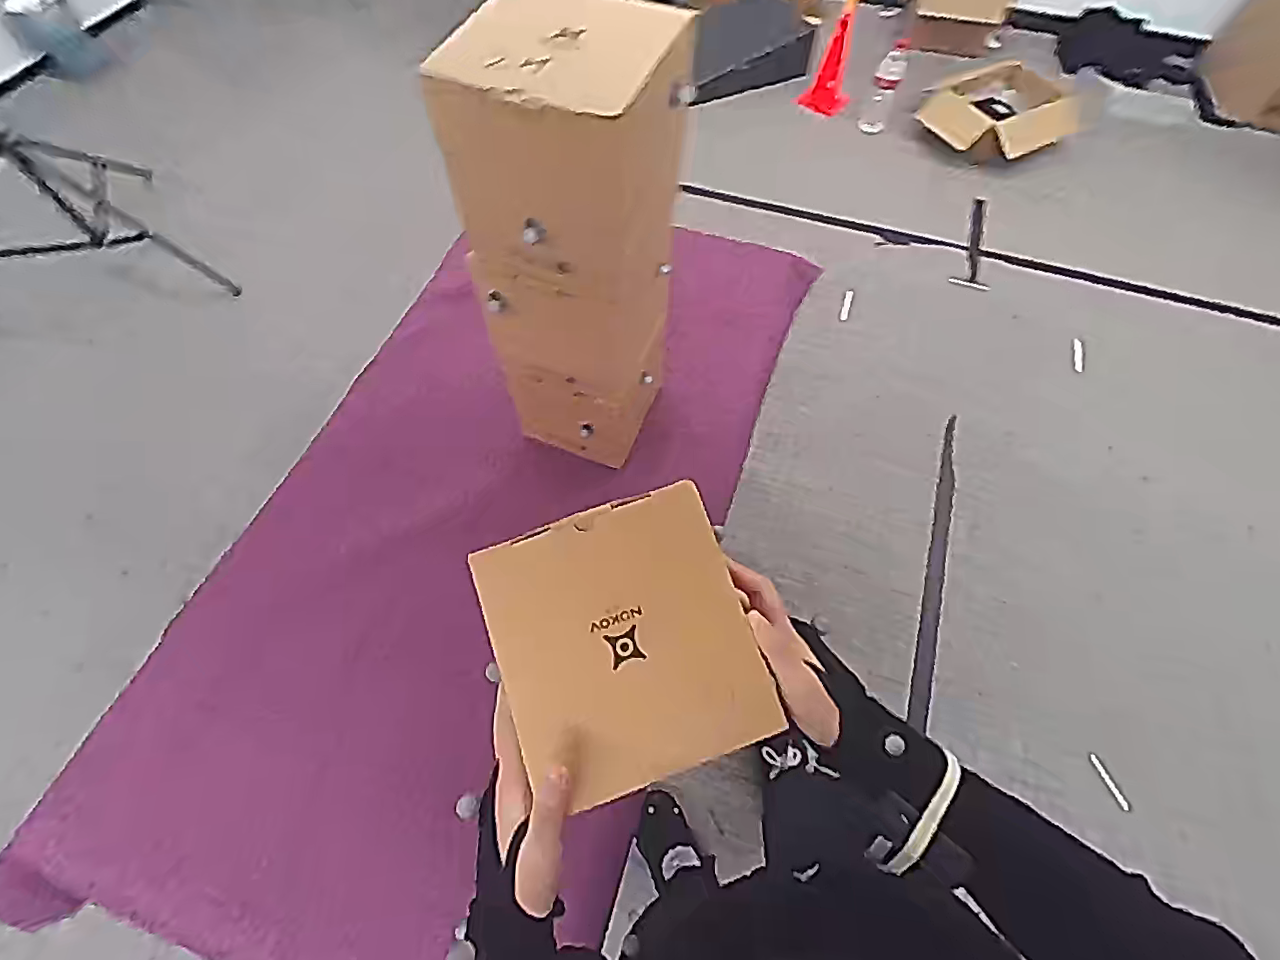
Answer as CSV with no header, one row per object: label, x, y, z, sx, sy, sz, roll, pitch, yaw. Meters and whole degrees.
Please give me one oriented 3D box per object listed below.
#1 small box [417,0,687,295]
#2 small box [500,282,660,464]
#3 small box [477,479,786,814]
small box,-0.067,-0.310,0.504,0.168,0.176,0.179,19,64,9
small box,-0.077,-0.150,0.792,0.168,0.176,0.179,19,63,9
small box,-0.007,0.121,0.432,0.168,0.176,0.179,-18,75,-5
